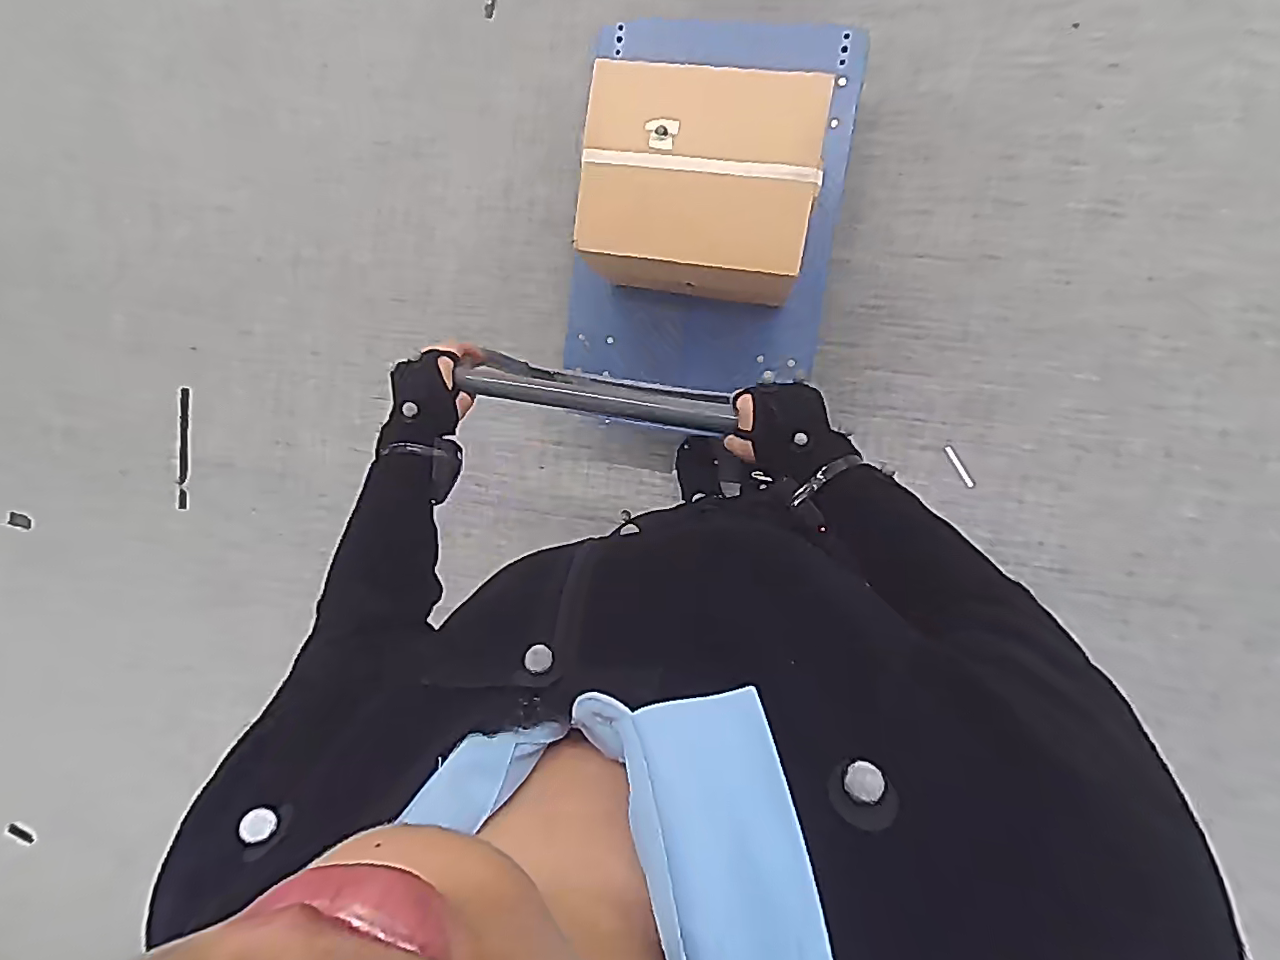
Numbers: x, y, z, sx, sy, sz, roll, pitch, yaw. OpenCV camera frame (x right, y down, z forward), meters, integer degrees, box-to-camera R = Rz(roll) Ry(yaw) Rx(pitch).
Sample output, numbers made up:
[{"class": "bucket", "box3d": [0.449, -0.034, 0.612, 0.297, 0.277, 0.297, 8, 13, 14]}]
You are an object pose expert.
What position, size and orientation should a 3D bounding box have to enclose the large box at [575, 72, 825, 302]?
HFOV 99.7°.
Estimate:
[{"class": "large box", "box3d": [0.123, -0.557, 1.087, 0.408, 0.320, 0.320, 11, 99, 9]}]
